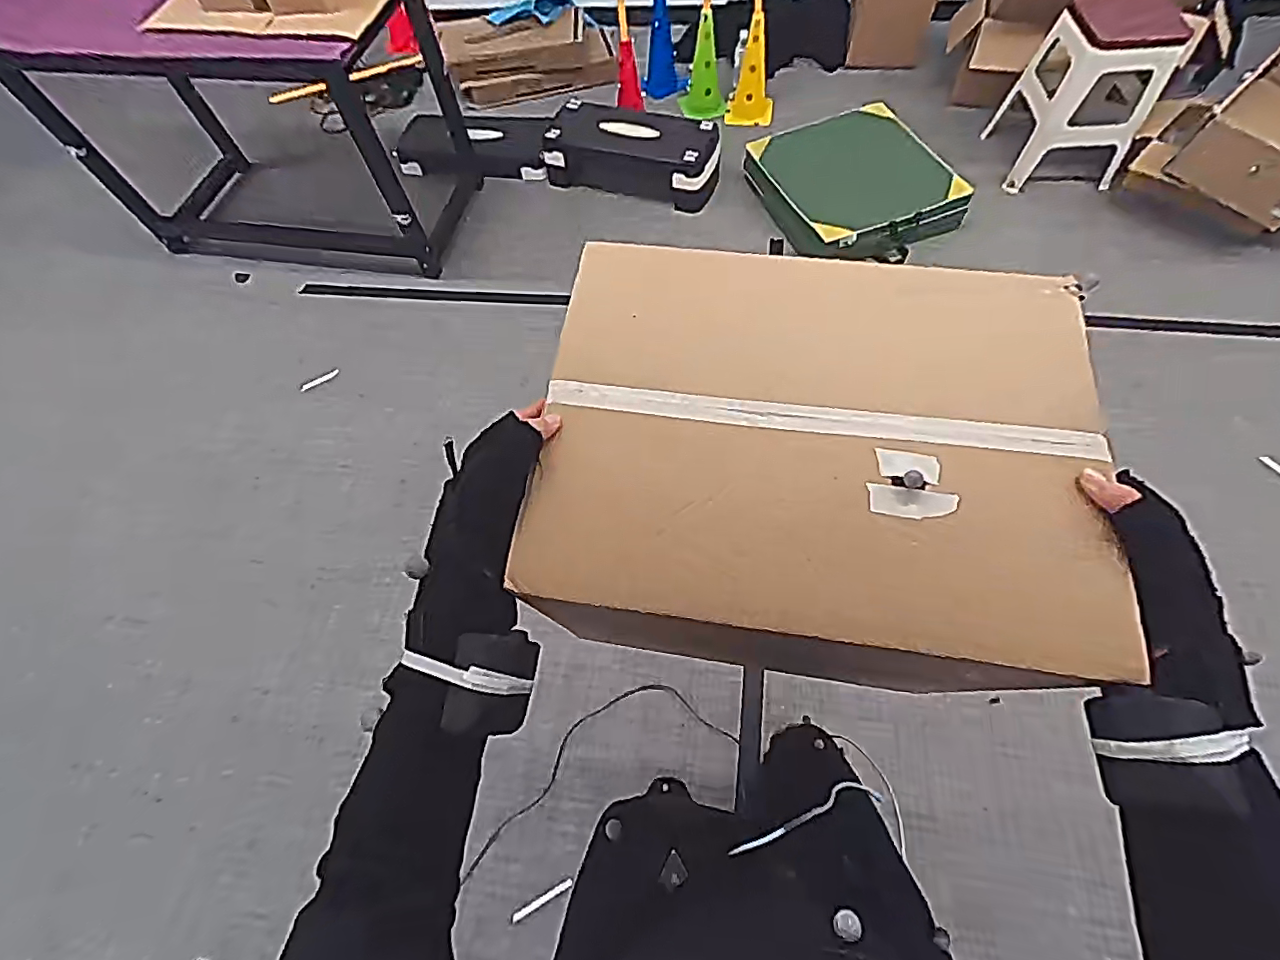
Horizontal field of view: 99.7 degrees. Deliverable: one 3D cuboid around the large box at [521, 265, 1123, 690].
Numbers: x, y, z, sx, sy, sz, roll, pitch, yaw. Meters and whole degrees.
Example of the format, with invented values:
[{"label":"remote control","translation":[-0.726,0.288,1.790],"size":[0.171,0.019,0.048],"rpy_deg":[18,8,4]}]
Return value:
[{"label":"large box","translation":[0.136,0.022,0.550],"size":[0.408,0.320,0.320],"rpy_deg":[7,69,6]}]
